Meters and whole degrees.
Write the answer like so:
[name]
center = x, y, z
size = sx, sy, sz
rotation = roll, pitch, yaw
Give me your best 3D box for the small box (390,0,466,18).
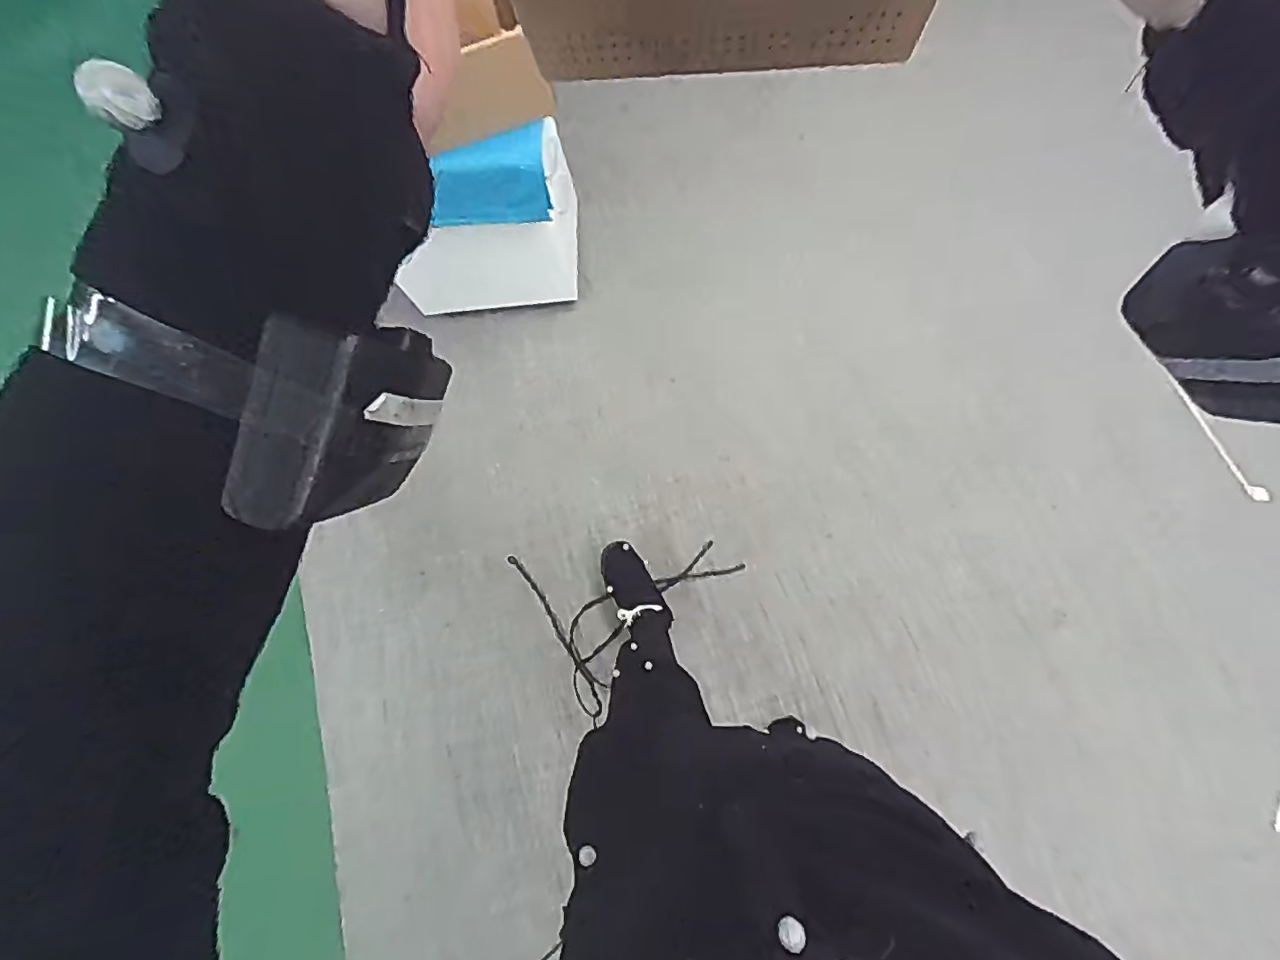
[small box]
center = -0.400, -0.979, 0.961
size = 0.179, 0.176, 0.168
rotation = -16, 72, 3
